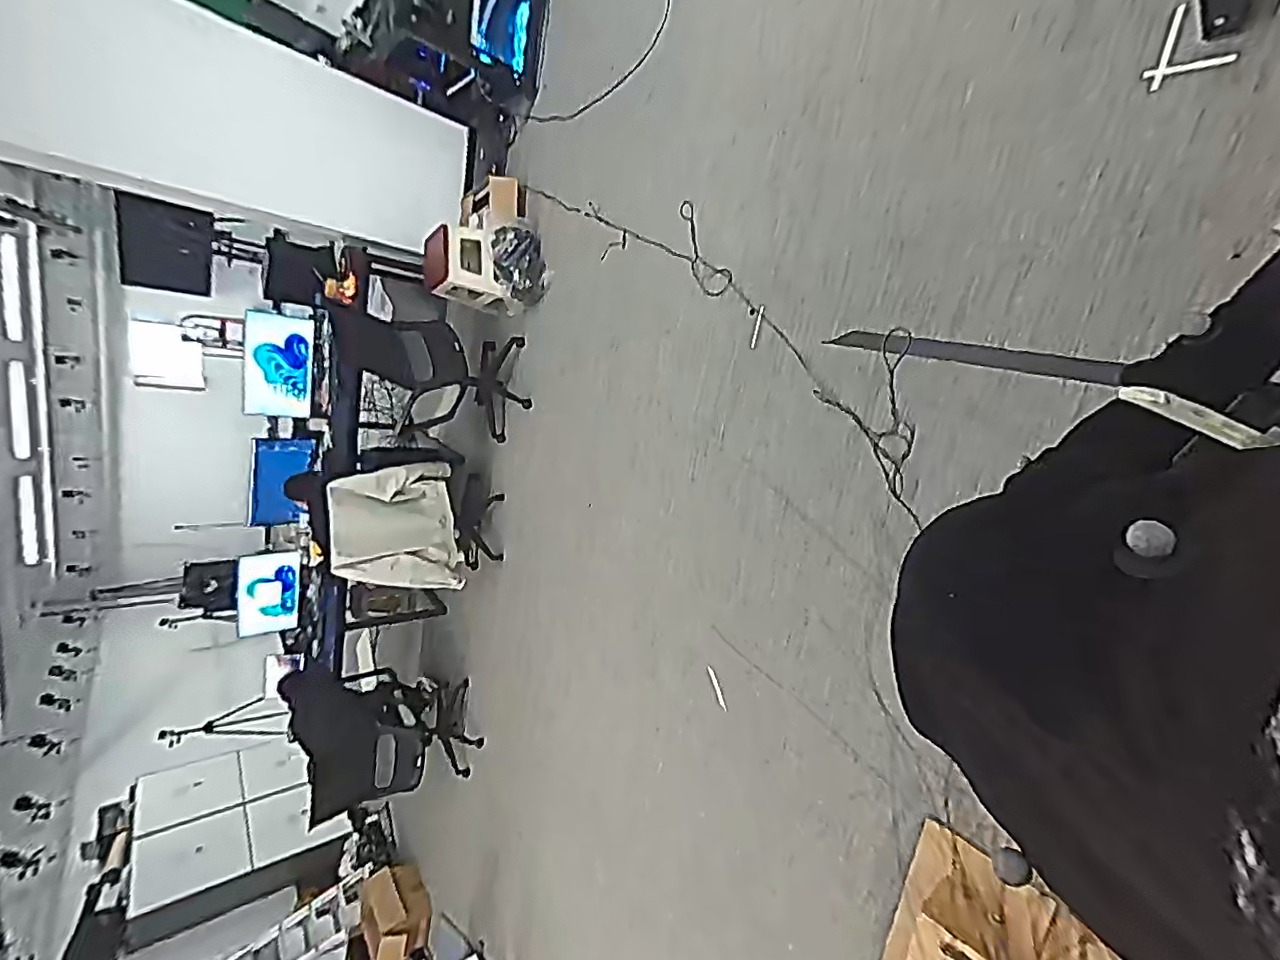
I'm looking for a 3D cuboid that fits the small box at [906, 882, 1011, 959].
[{"bbox_3d":[0.776,1.142,1.316,0.168,0.176,0.179,17,104,47],"label":"small box"}]
